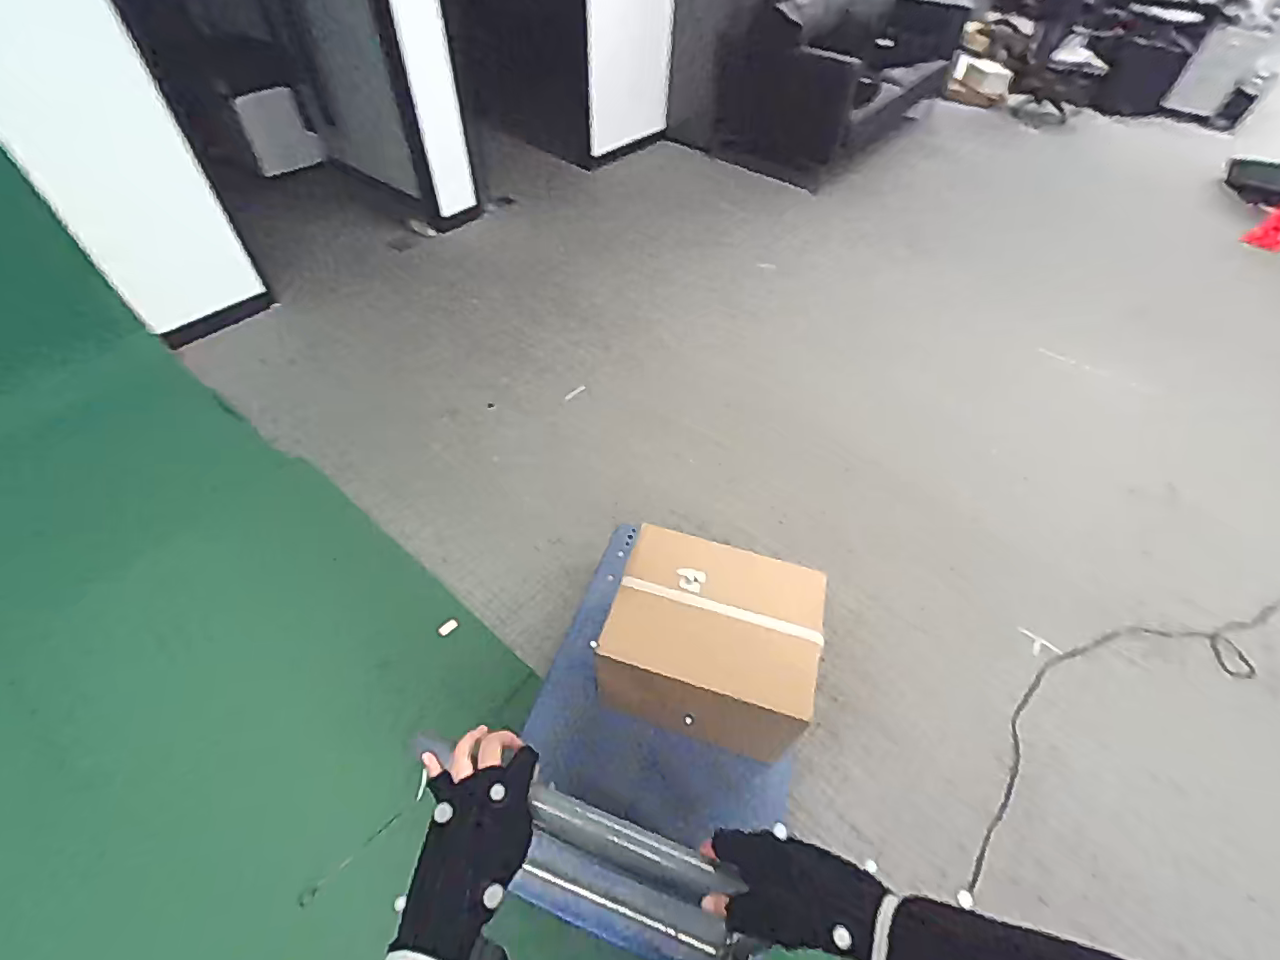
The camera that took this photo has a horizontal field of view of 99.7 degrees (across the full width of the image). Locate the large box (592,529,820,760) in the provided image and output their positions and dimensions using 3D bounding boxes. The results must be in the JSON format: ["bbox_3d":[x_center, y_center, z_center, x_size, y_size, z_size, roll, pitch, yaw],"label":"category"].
[{"bbox_3d":[0.142,0.359,1.176,0.408,0.320,0.320,14,50,11],"label":"large box"}]
